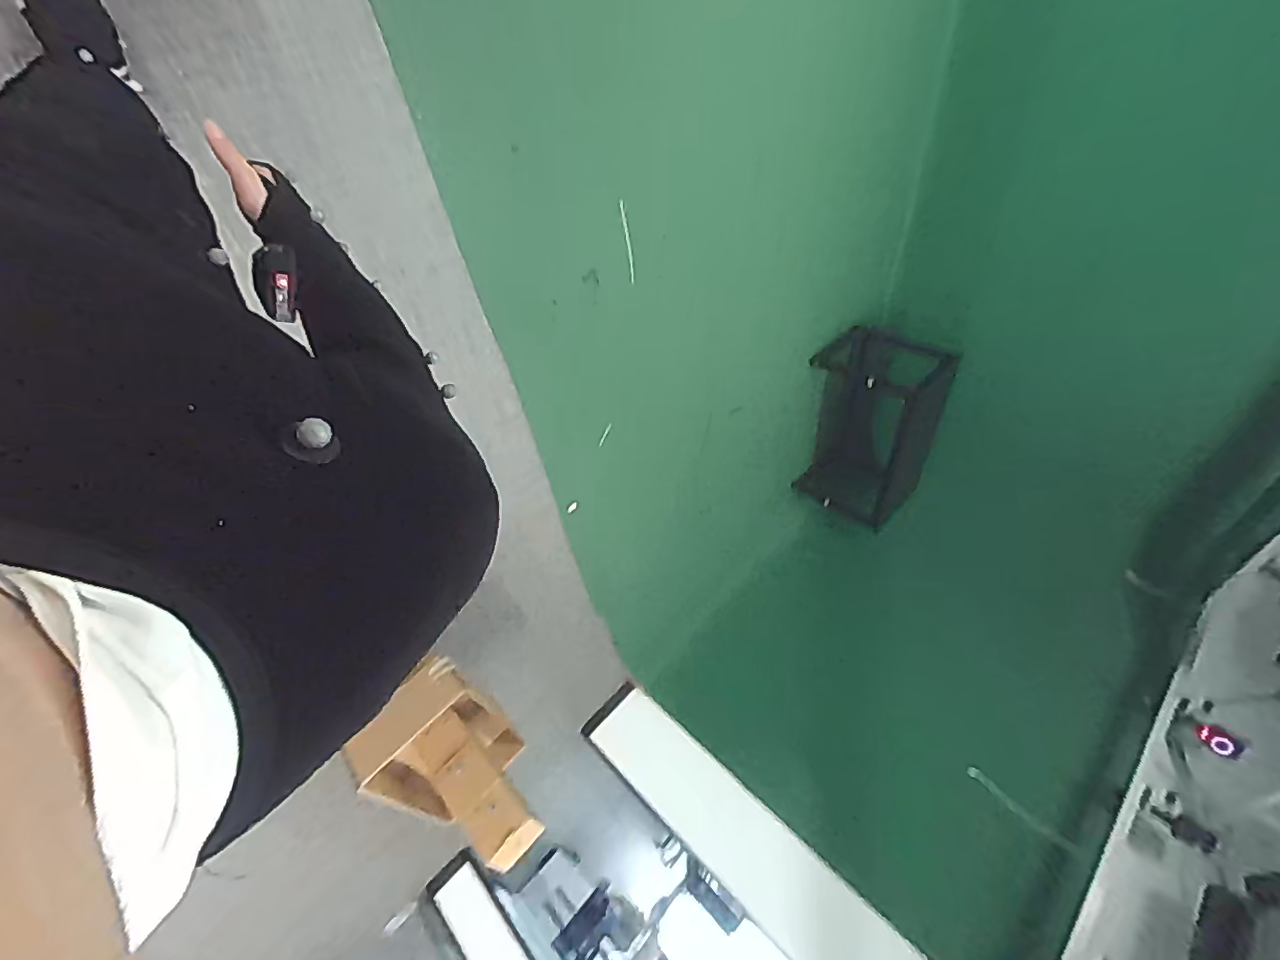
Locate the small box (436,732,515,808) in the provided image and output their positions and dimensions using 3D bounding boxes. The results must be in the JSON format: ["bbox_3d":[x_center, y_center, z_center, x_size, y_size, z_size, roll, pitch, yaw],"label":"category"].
[{"bbox_3d":[-0.548,0.986,1.819,0.168,0.176,0.179,-42,144,-23],"label":"small box"}]

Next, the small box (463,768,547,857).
[{"bbox_3d":[-0.432,1.062,1.734,0.168,0.176,0.179,-41,143,-22],"label":"small box"}]

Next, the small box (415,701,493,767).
[{"bbox_3d":[-0.661,0.917,1.917,0.168,0.176,0.179,-41,144,-23],"label":"small box"}]
